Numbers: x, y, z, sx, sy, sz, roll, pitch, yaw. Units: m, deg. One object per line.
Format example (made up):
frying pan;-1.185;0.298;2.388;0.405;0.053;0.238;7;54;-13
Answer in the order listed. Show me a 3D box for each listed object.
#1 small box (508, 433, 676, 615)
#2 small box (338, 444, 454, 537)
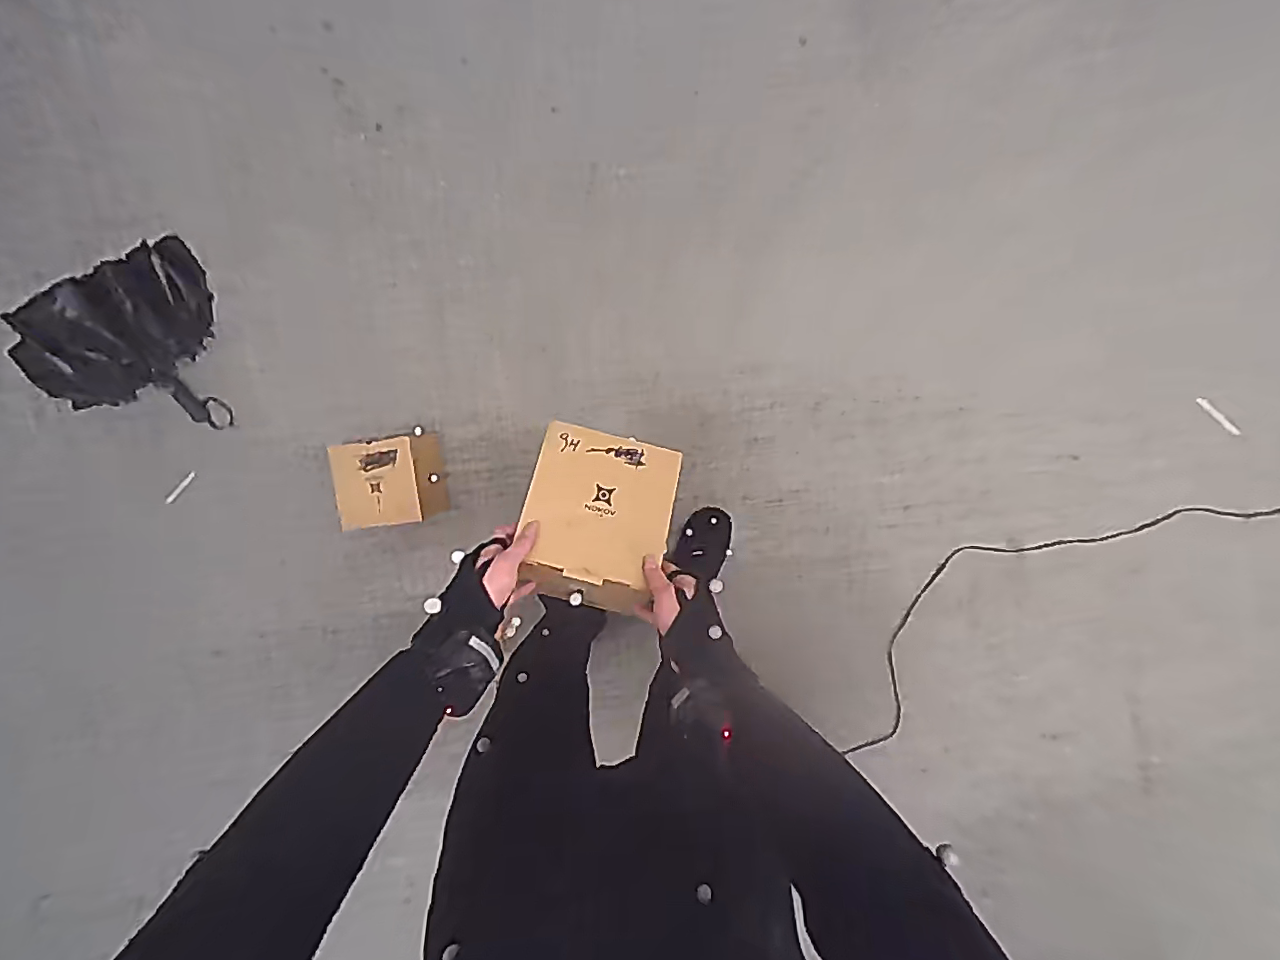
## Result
small box;-0.061;0.068;0.704;0.168;0.176;0.179;14;66;-4
small box;-0.522;0.016;1.180;0.168;0.176;0.179;-7;98;0
